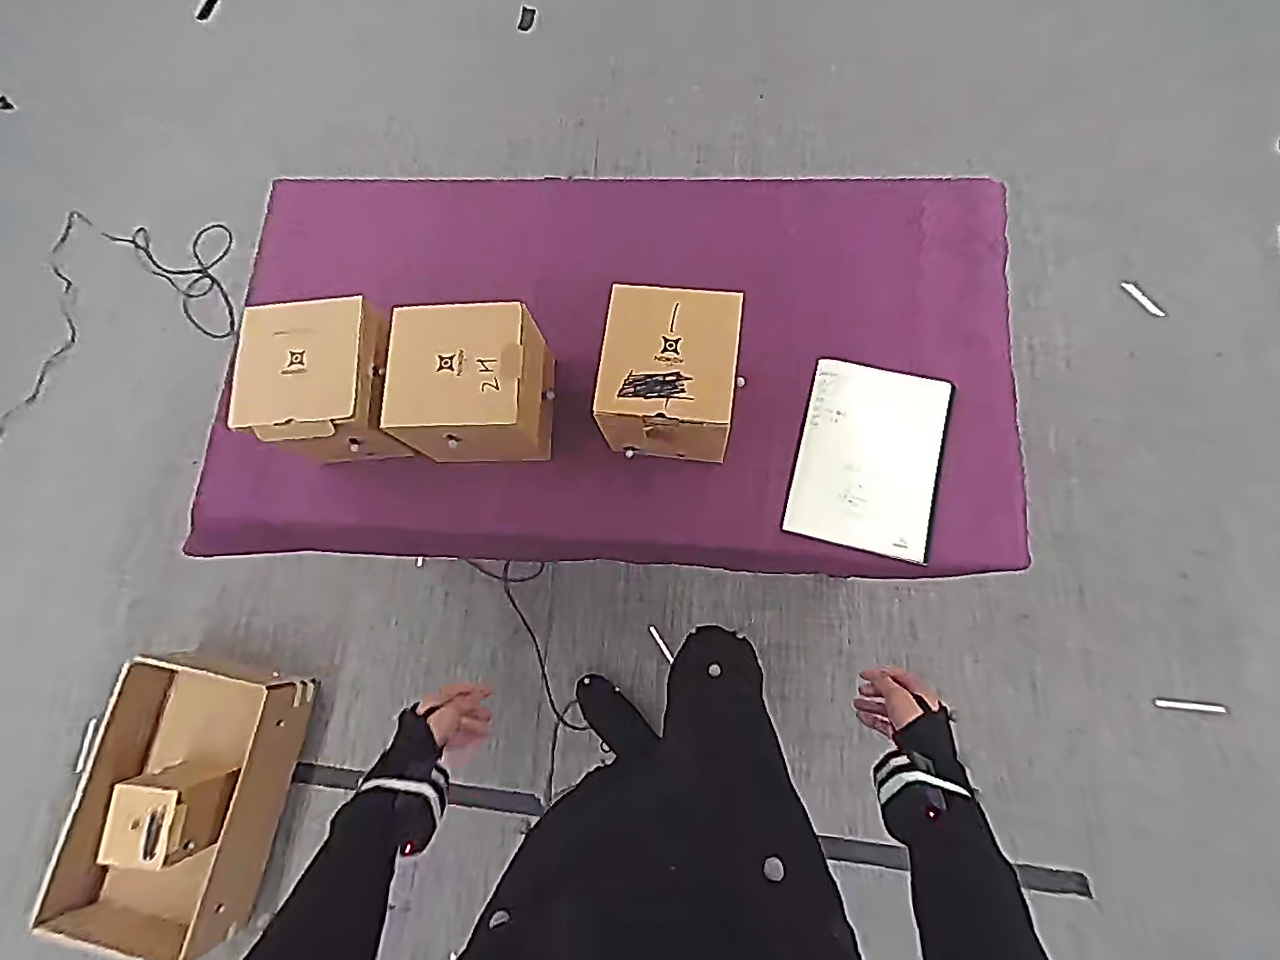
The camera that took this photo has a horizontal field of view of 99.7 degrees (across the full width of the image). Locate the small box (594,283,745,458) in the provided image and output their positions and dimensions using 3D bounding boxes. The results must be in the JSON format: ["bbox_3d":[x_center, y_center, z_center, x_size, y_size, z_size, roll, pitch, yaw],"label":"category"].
[{"bbox_3d":[0.045,-0.137,0.730,0.168,0.176,0.179,7,77,7],"label":"small box"}]

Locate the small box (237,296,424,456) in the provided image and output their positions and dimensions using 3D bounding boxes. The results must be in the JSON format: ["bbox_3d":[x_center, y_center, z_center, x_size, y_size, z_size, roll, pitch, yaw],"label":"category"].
[{"bbox_3d":[-0.427,-0.136,0.774,0.168,0.176,0.179,-4,76,3],"label":"small box"}]
